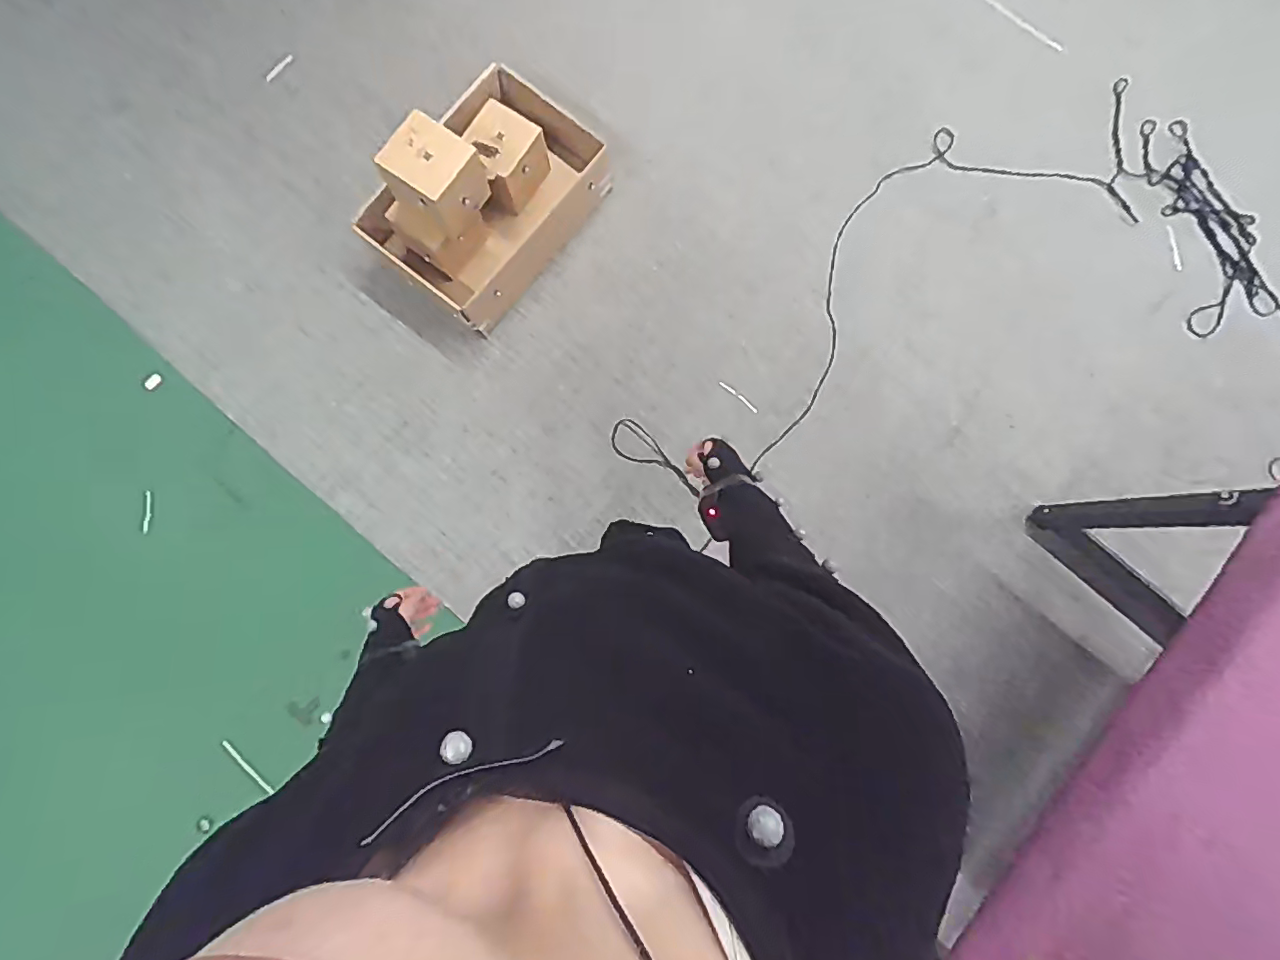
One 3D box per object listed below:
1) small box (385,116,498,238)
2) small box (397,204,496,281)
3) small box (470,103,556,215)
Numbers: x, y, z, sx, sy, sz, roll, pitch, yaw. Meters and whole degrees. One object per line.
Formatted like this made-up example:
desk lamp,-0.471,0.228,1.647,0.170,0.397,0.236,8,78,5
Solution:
small box,-0.478,-0.733,1.335,0.179,0.176,0.168,34,83,2
small box,-0.524,-0.689,1.494,0.168,0.176,0.179,35,83,2
small box,-0.352,-0.889,1.514,0.168,0.176,0.179,32,86,3
